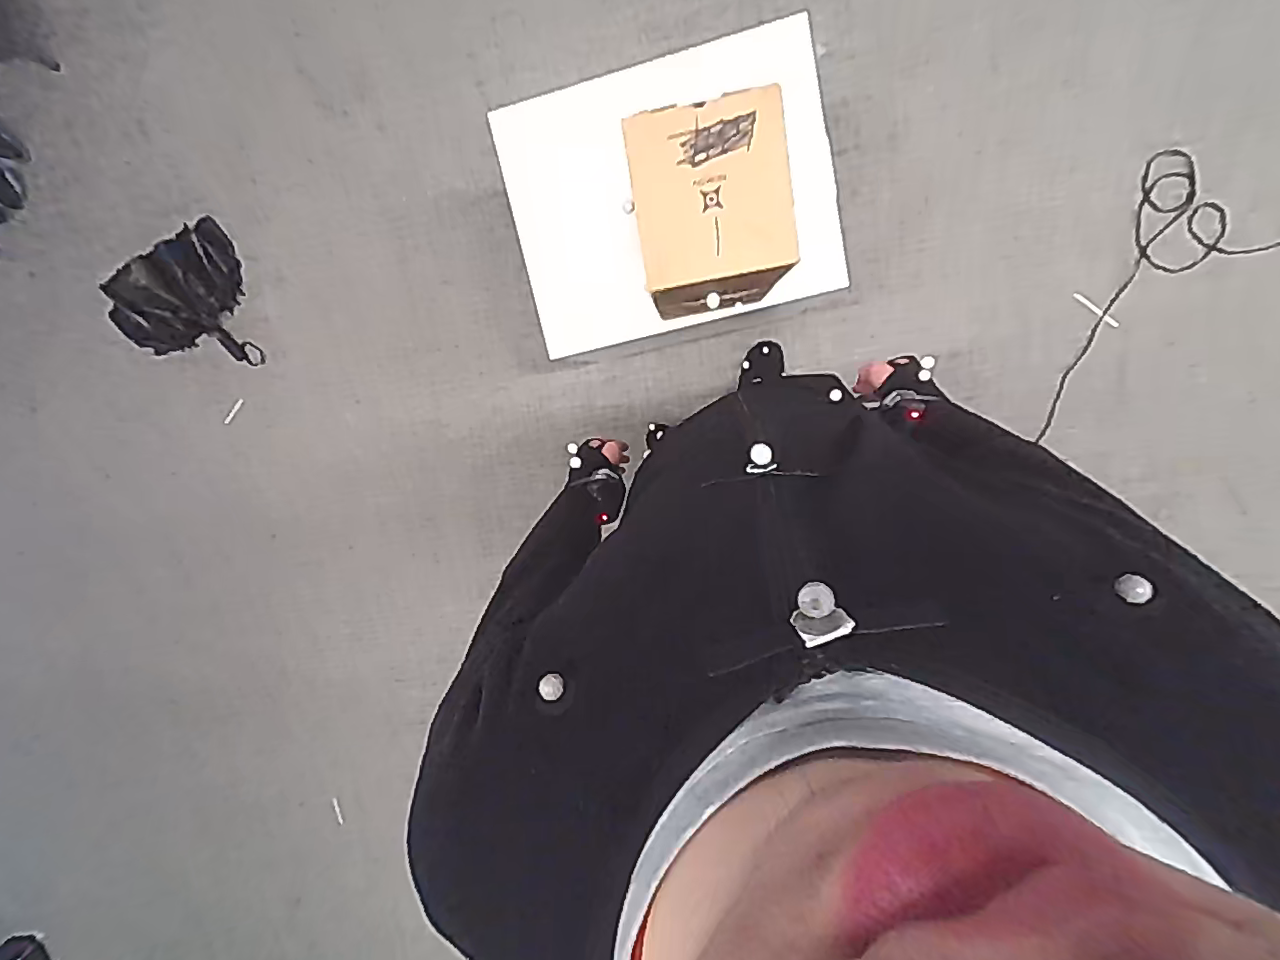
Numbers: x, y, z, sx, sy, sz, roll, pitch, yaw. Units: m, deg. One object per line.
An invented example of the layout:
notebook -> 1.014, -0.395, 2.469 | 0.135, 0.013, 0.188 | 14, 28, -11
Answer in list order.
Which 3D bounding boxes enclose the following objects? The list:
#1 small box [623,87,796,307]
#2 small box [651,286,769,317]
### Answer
small box -> 0.078, -0.316, 0.643 | 0.168, 0.176, 0.179 | -8, 101, 6
small box -> 0.091, -0.347, 0.804 | 0.168, 0.176, 0.179 | -9, 100, 5
